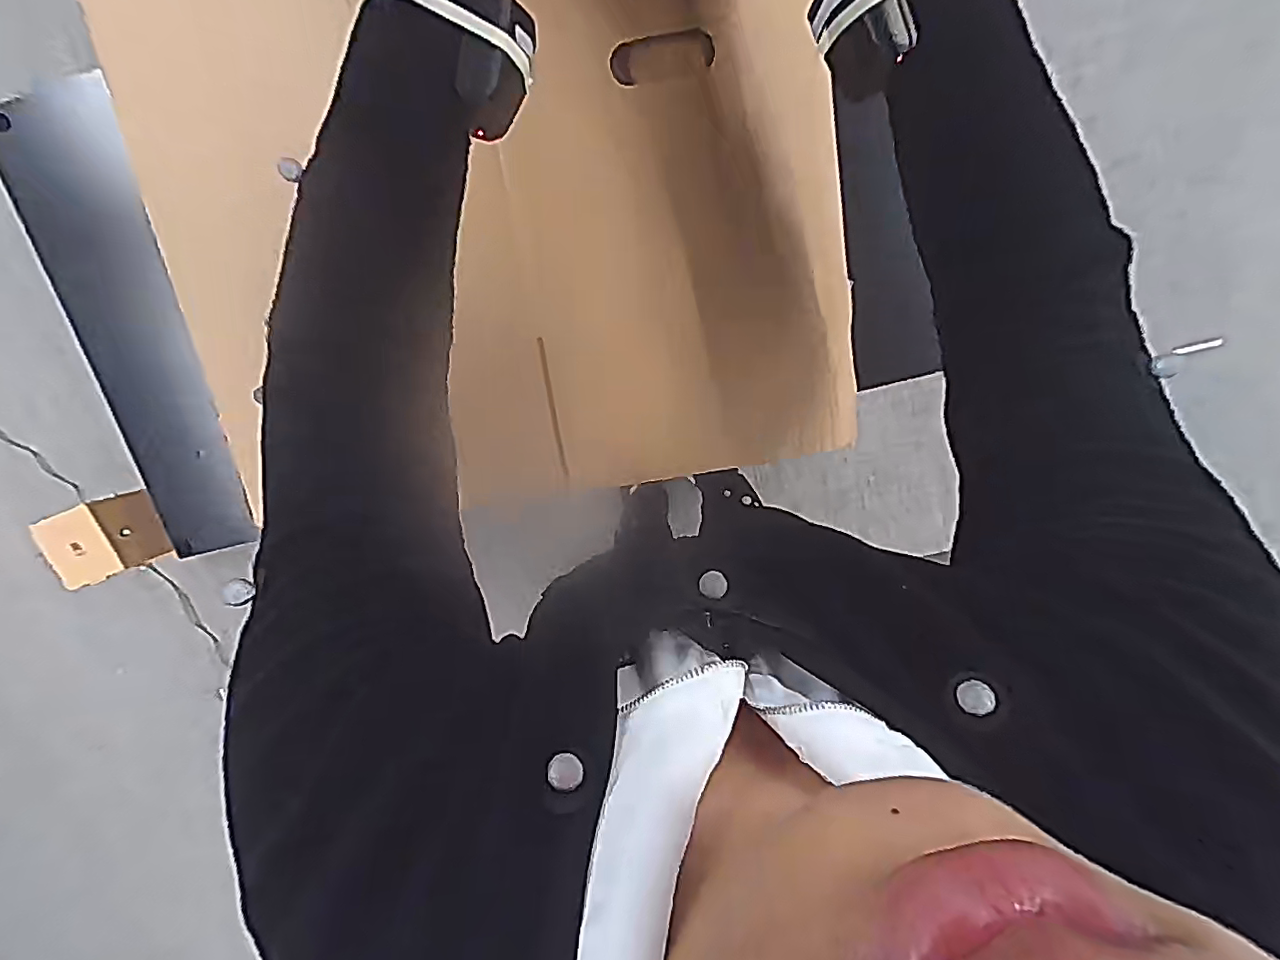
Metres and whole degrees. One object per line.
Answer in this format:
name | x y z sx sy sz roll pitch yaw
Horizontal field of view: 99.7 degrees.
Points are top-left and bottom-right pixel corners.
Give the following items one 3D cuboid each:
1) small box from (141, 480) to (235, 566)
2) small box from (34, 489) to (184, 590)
small box | -1.287 0.110 1.498 0.168 0.176 0.179 -18 102 7
small box | -1.298 0.141 1.338 0.168 0.176 0.179 -20 100 7
